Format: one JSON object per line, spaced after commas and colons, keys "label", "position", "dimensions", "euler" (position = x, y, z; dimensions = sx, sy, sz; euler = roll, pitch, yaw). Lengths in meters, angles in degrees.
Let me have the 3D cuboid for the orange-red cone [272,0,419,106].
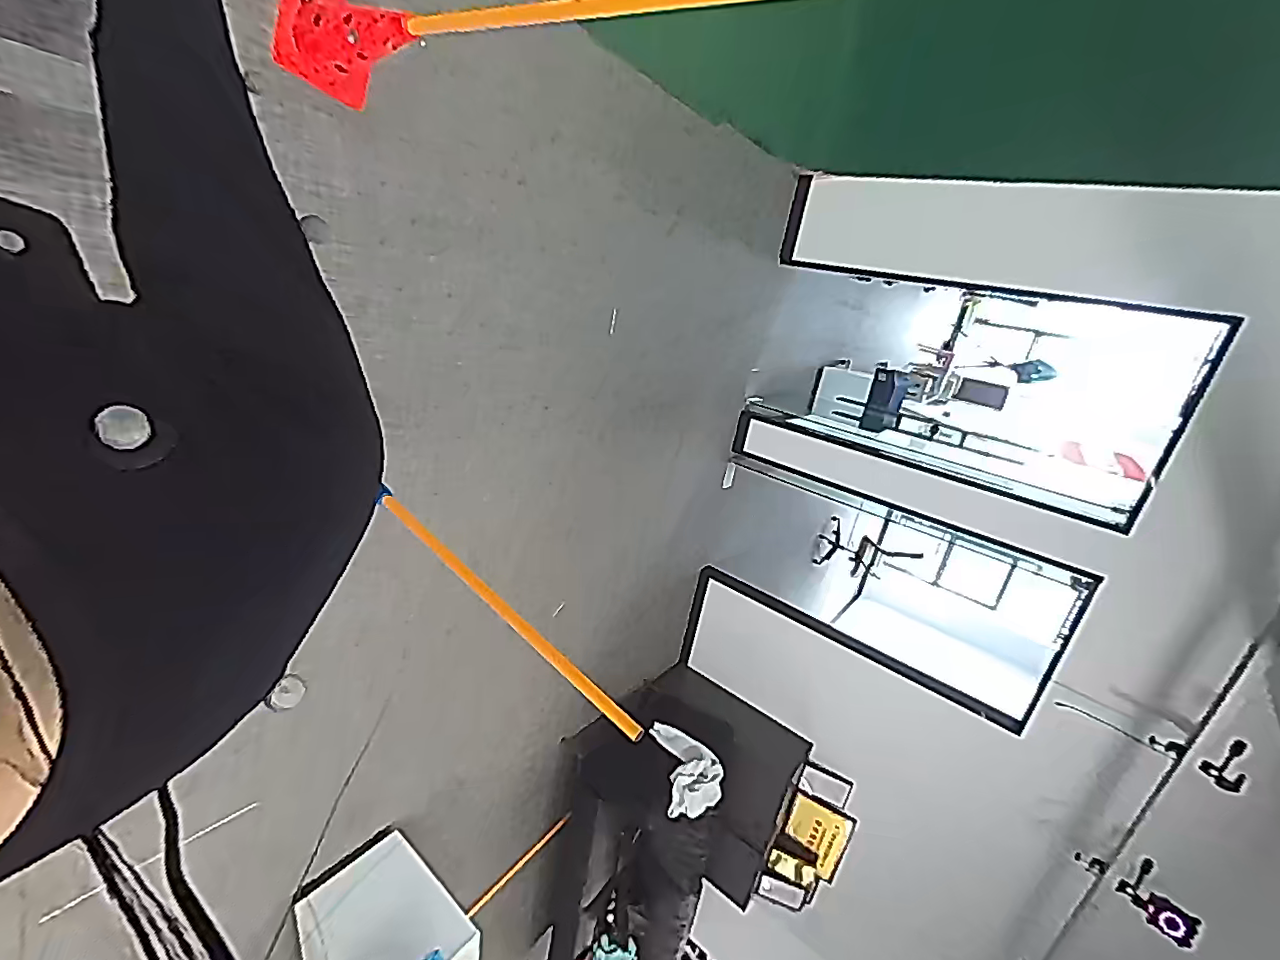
{"label": "orange-red cone", "position": [-0.569, -0.927, 1.120], "dimensions": [0.198, 0.360, 0.199], "euler": [4, 107, -56]}
